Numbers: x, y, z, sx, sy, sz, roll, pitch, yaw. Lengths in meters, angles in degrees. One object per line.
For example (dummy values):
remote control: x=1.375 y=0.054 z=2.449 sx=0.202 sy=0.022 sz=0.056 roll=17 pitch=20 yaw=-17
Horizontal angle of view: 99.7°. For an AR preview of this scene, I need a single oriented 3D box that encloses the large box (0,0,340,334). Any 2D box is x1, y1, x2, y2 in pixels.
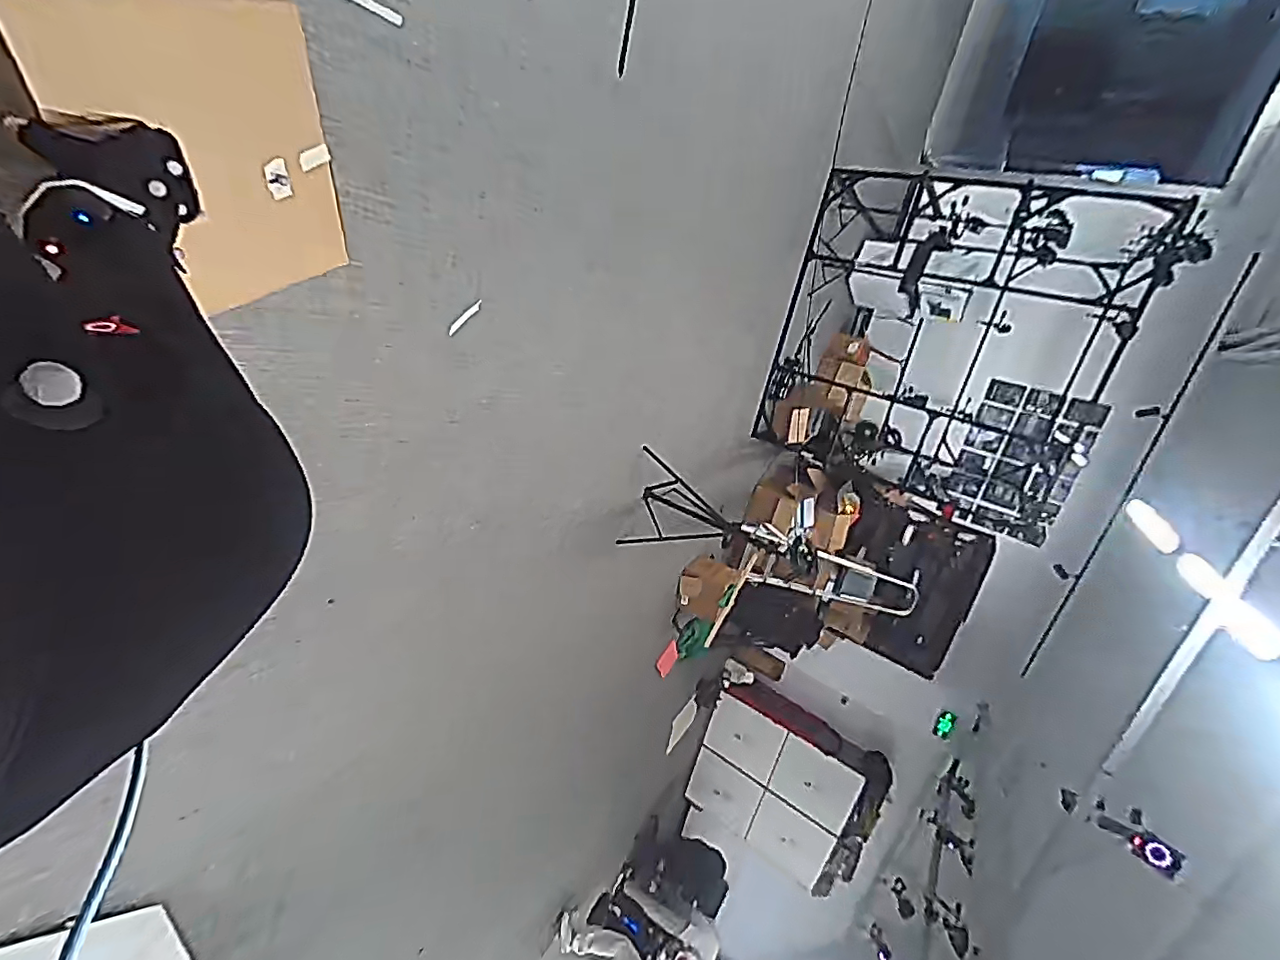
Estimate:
large box: x=-0.678 y=-0.430 z=0.669 sx=0.320 sy=0.408 sz=0.320 roll=-59 pitch=164 yaw=-46
